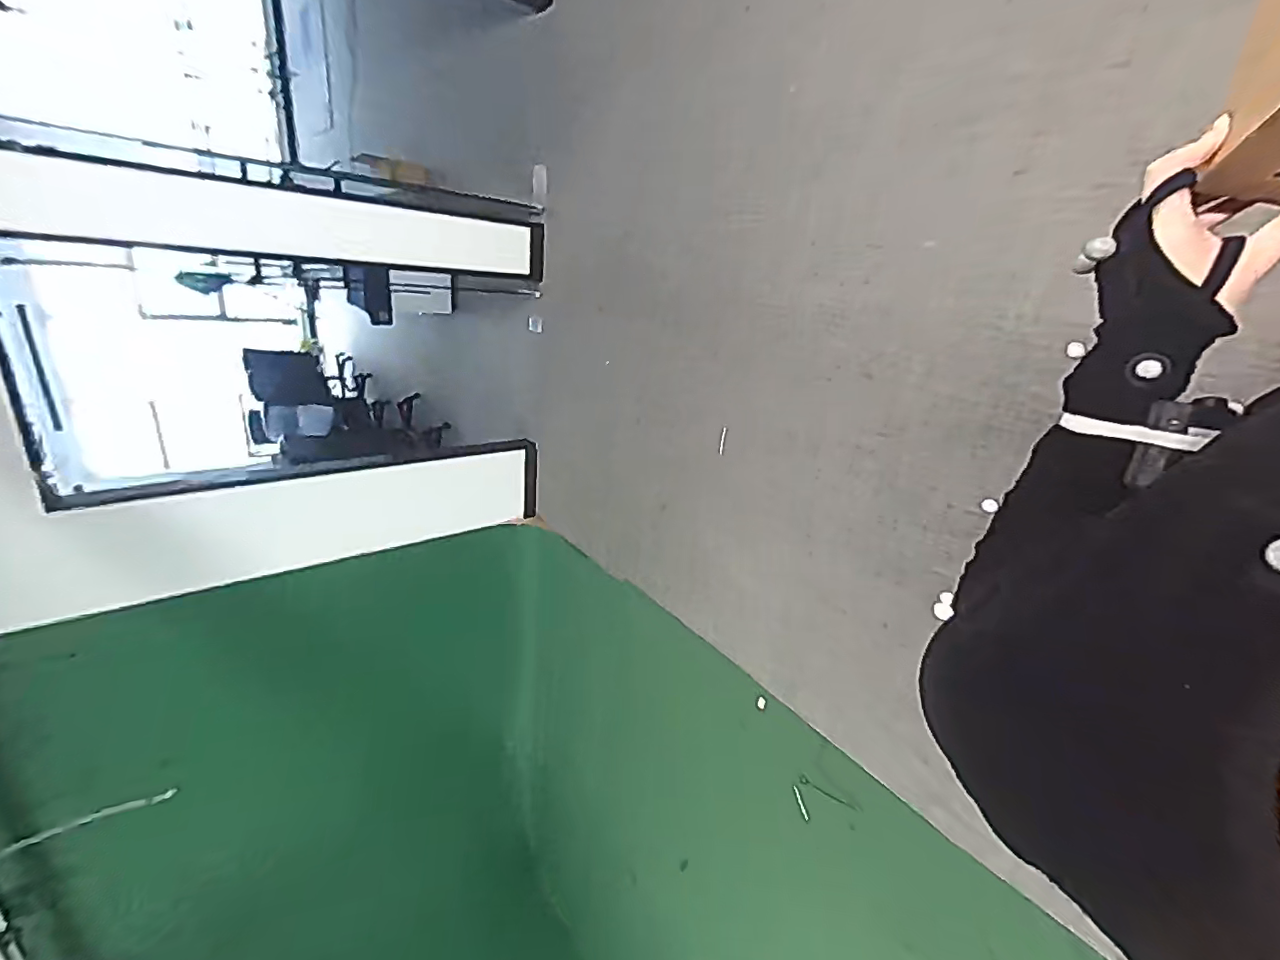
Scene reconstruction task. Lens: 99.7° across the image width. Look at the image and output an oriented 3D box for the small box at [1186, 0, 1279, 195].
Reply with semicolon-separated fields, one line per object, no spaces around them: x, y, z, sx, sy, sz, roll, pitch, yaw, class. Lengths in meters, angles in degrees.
0.430;-0.251;0.244;0.168;0.179;0.176;22;87;16;small box
